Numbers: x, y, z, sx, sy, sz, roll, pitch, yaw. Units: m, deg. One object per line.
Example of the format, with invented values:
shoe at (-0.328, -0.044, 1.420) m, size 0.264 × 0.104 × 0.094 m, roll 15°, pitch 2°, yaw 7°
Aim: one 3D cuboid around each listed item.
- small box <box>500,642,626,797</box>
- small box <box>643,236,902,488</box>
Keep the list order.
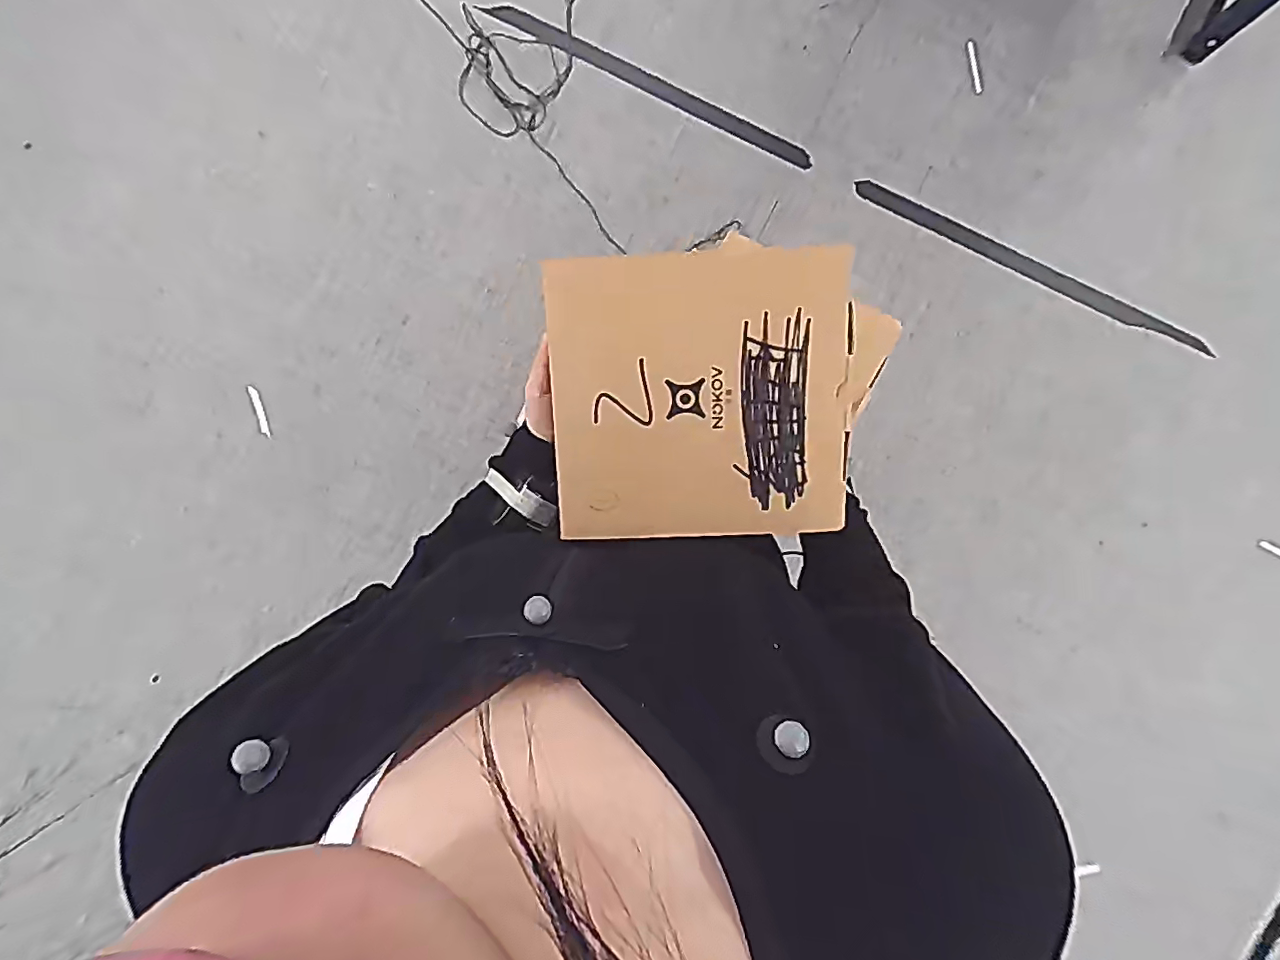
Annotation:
small box at (-0.127, 0.415, 0.969) m, size 0.168 × 0.176 × 0.179 m, roll 19°, pitch 92°, yaw 3°
small box at (0.116, -0.115, 0.555) m, size 0.179 × 0.176 × 0.168 m, roll 27°, pitch 98°, yaw -7°
